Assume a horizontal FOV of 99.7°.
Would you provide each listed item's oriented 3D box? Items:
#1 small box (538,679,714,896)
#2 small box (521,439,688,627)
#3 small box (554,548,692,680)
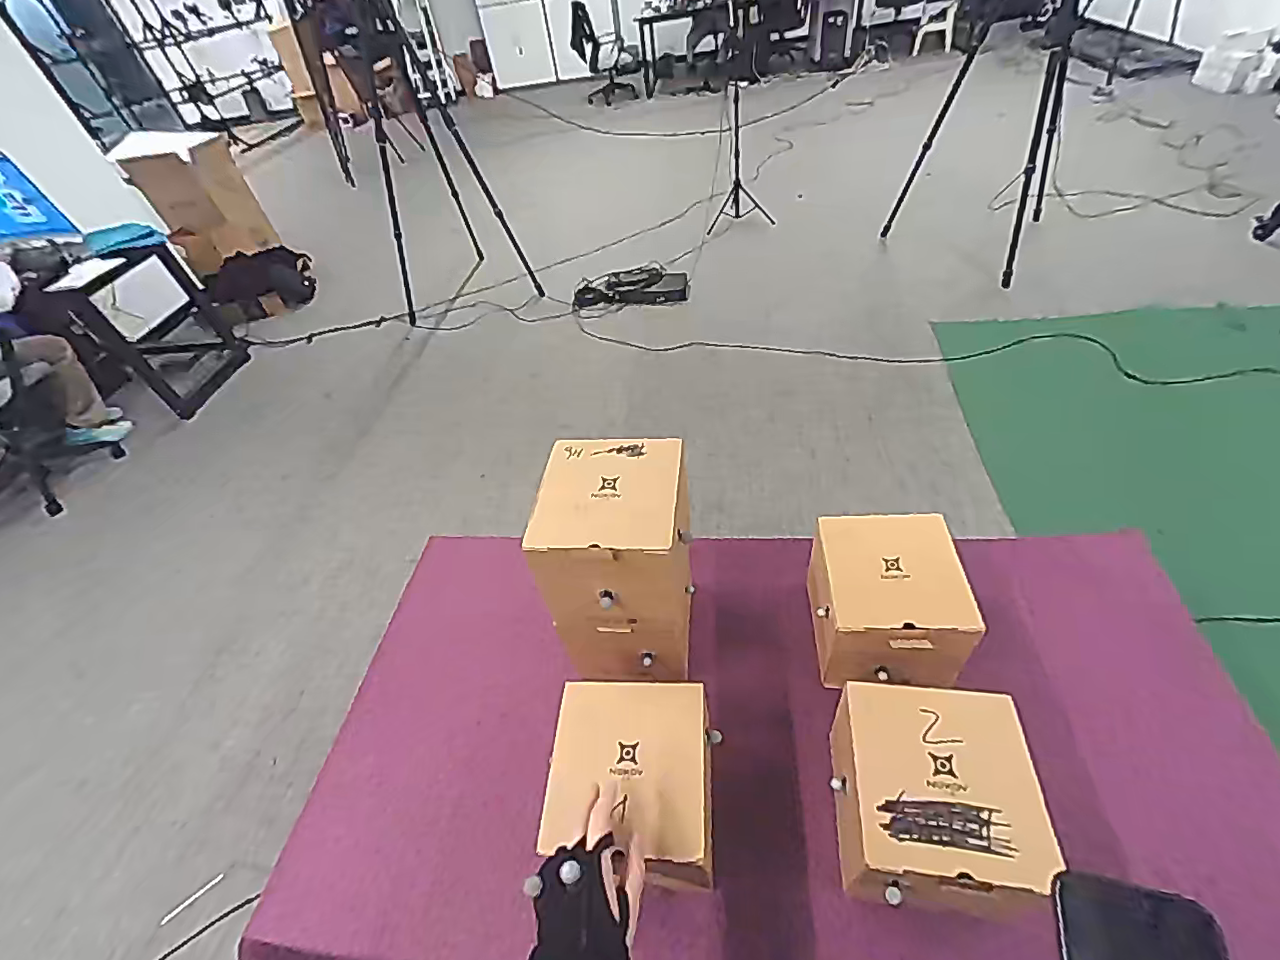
[{"bbox_3d":[-0.003,0.354,0.628,0.168,0.176,0.179,-3,45,9],"label":"small box"},{"bbox_3d":[-0.030,0.069,0.680,0.168,0.176,0.179,0,47,10],"label":"small box"},{"bbox_3d":[-0.012,0.180,0.801,0.168,0.176,0.179,-1,47,10],"label":"small box"}]
